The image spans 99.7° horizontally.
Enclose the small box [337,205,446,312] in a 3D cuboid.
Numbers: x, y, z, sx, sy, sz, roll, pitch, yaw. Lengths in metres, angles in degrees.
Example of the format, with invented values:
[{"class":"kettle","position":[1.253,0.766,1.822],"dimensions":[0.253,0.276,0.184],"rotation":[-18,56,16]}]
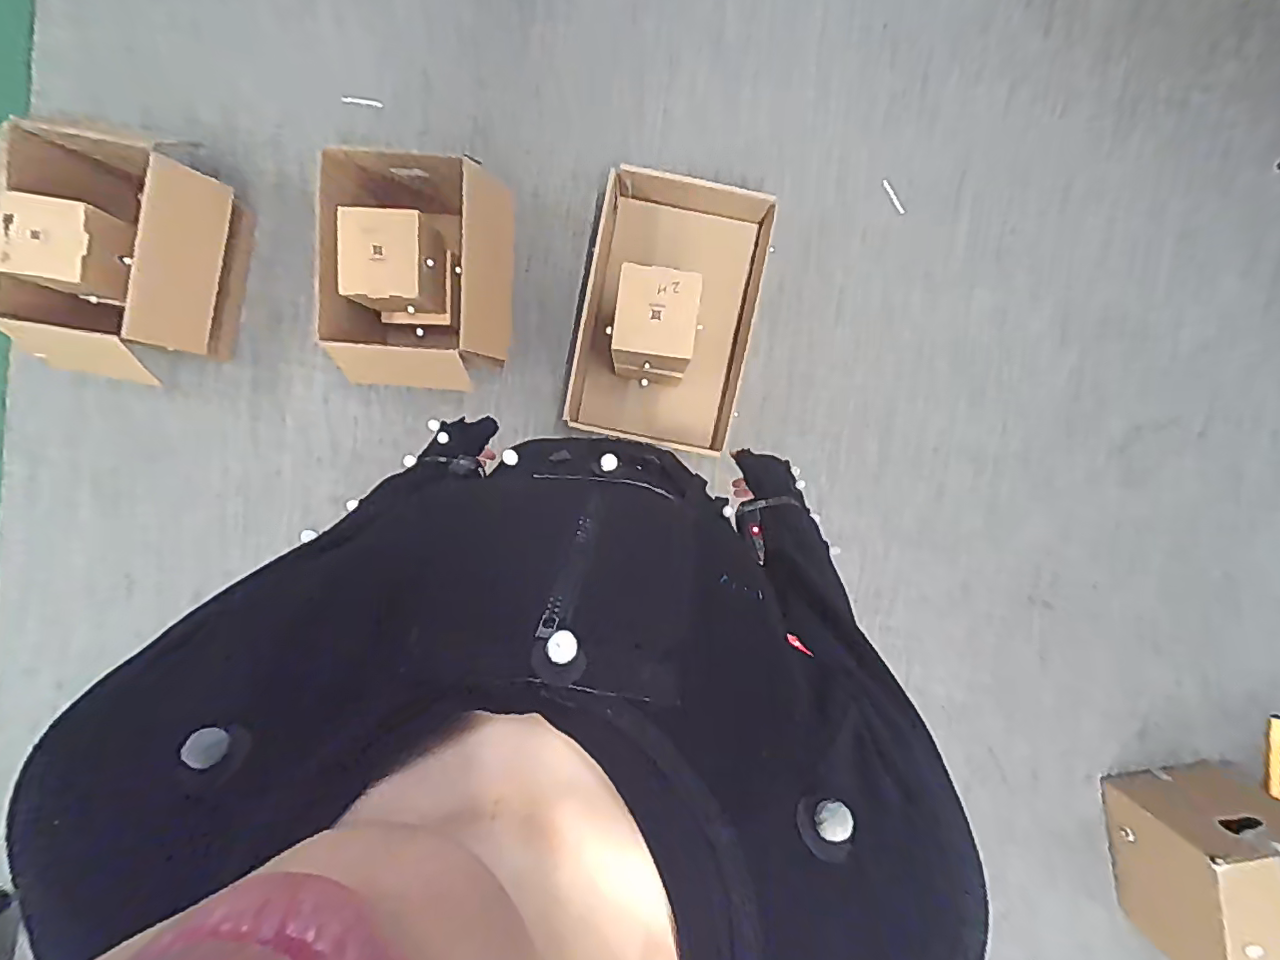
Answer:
[{"class":"small box","position":[-0.531,-0.470,1.174],"dimensions":[0.168,0.176,0.179],"rotation":[3,95,-1]}]

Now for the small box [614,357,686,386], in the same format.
[{"class":"small box","position":[0.033,-0.338,1.314],"dimensions":[0.168,0.176,0.179],"rotation":[10,92,-1]}]

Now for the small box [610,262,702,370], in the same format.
[{"class":"small box","position":[0.032,-0.339,1.150],"dimensions":[0.168,0.176,0.179],"rotation":[7,92,-1]}]
